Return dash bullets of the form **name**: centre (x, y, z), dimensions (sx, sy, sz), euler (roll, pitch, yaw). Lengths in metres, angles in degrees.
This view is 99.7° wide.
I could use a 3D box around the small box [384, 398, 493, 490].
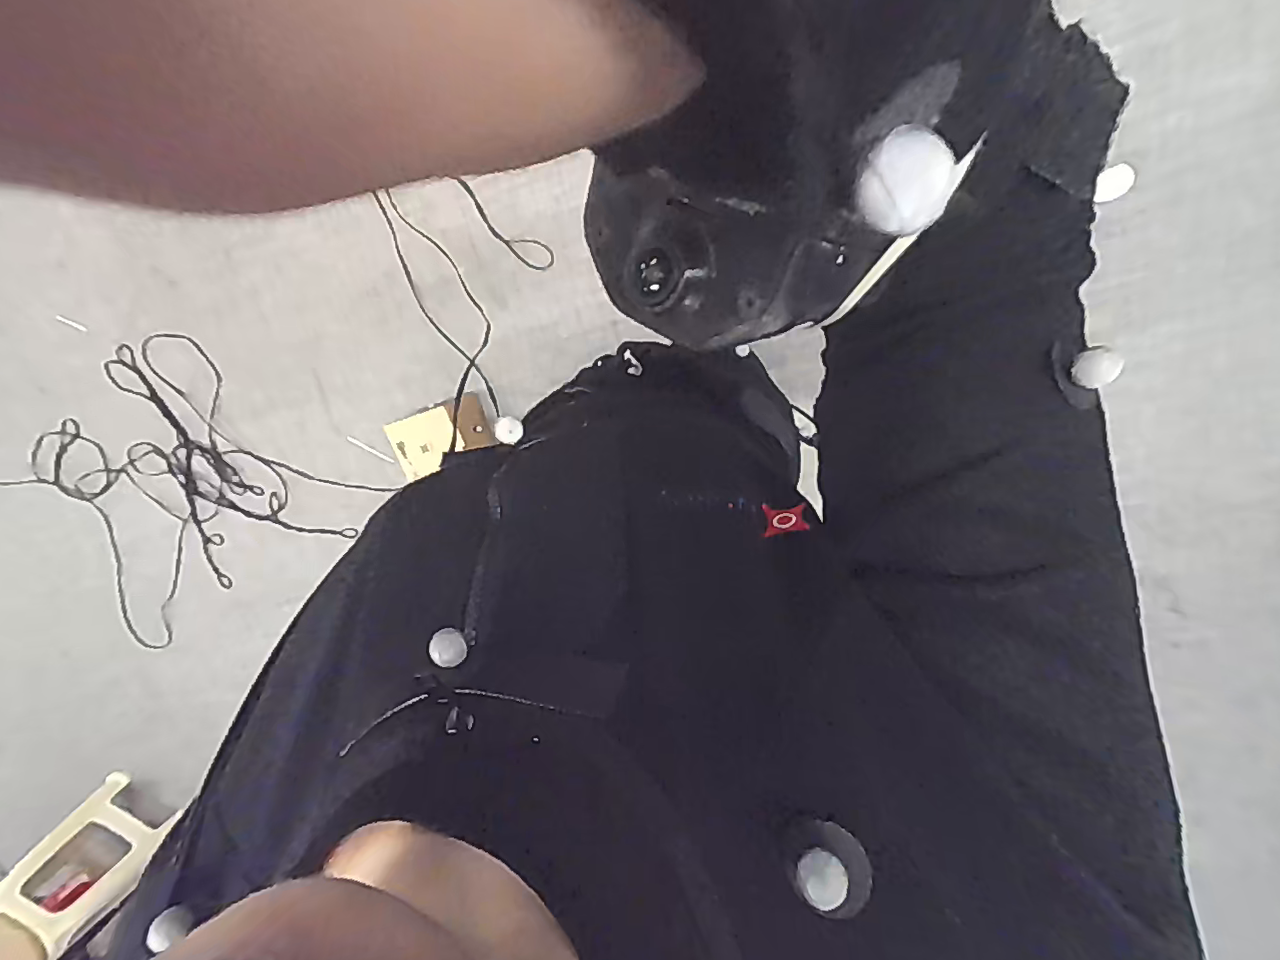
- **small box**: centre (-0.487, -0.096, 1.347), dimensions (0.179, 0.176, 0.168), euler (-16, 105, 13)
